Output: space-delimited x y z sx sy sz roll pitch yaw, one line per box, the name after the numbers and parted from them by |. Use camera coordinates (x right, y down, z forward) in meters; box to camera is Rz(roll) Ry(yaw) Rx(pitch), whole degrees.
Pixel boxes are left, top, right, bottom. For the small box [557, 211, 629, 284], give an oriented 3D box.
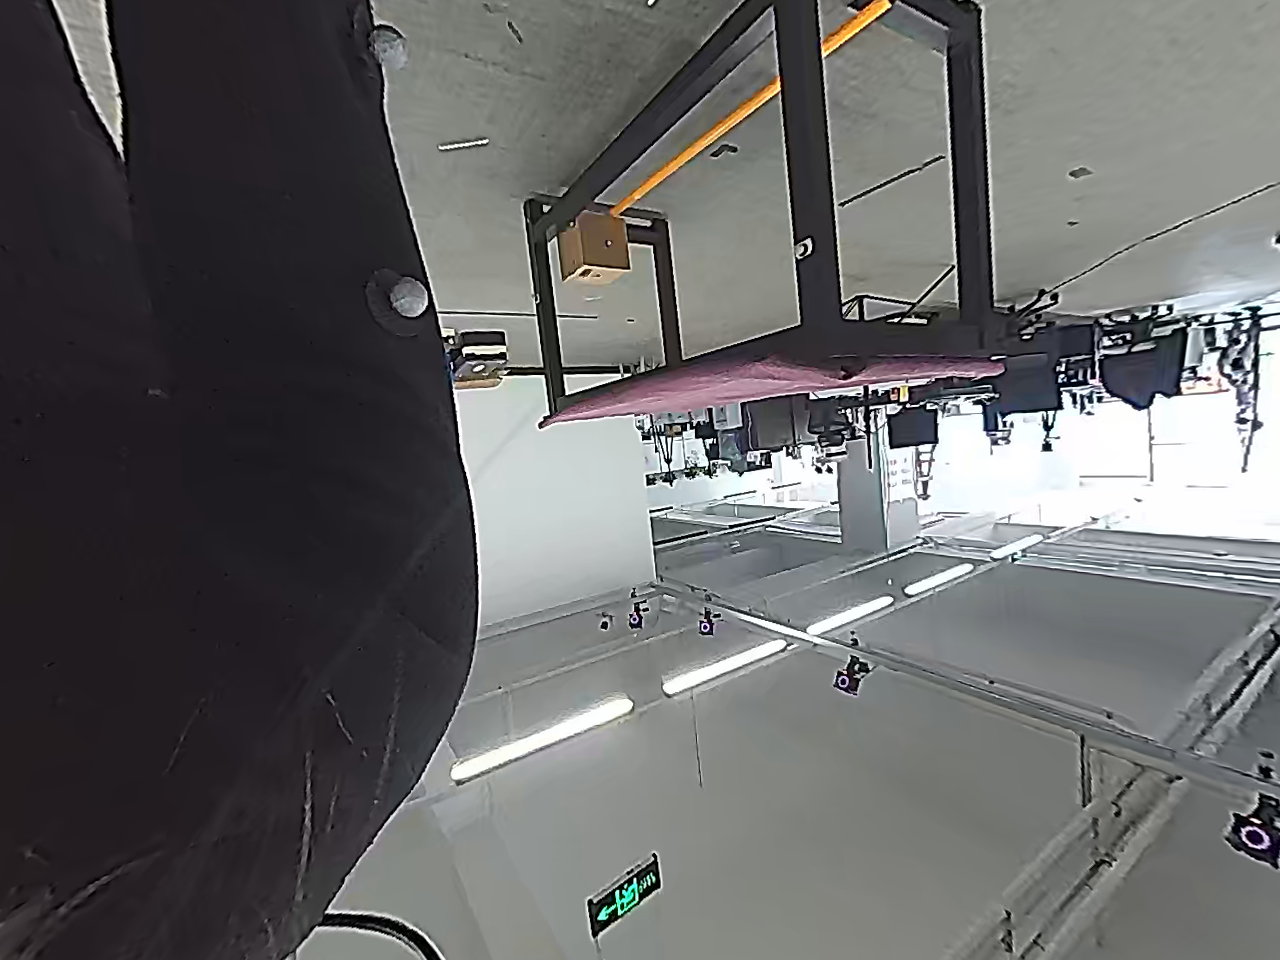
-0.159 -0.758 1.768 0.179 0.176 0.168 -10 -175 -33 | small box
